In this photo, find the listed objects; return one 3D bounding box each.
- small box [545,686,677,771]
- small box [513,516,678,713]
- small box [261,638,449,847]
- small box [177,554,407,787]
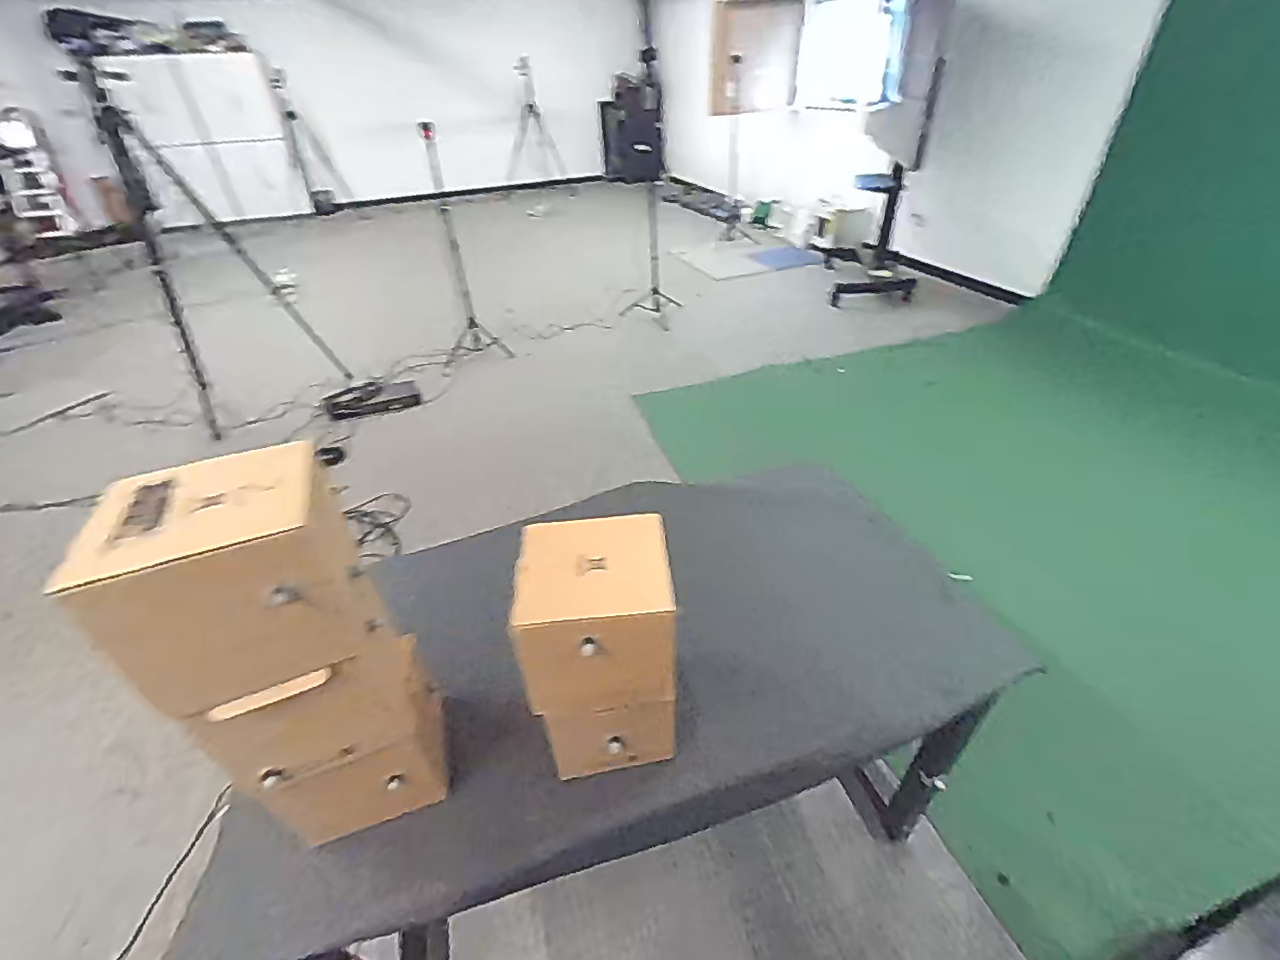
[{"bbox_3d":[-0.043,0.295,0.781,0.168,0.176,0.179,-9,37,-6],"label":"small box"},{"bbox_3d":[-0.048,0.168,0.678,0.179,0.176,0.168,-6,36,-1],"label":"small box"},{"bbox_3d":[-0.368,0.353,0.737,0.179,0.176,0.168,-15,37,-14],"label":"small box"},{"bbox_3d":[-0.386,0.224,0.636,0.168,0.176,0.179,-17,36,-18],"label":"small box"}]
